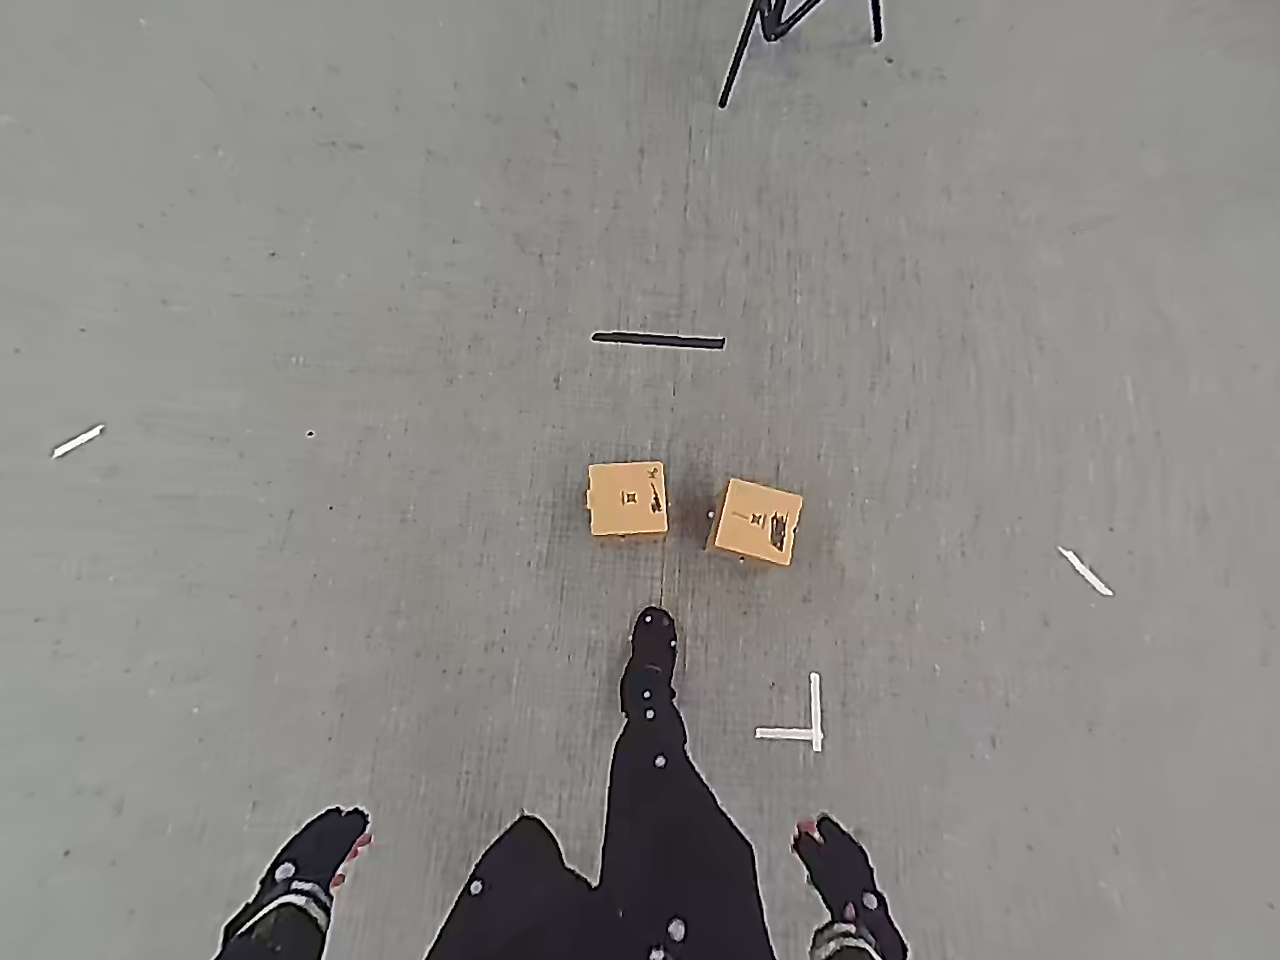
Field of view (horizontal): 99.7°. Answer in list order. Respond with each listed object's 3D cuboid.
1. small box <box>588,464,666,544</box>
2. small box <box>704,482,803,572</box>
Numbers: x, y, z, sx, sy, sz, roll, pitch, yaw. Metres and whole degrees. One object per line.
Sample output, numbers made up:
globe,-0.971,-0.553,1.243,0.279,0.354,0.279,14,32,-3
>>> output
small box,-0.031,0.063,1.304,0.179,0.176,0.168,-2,78,-1
small box,0.266,0.120,1.298,0.179,0.176,0.168,15,76,1
